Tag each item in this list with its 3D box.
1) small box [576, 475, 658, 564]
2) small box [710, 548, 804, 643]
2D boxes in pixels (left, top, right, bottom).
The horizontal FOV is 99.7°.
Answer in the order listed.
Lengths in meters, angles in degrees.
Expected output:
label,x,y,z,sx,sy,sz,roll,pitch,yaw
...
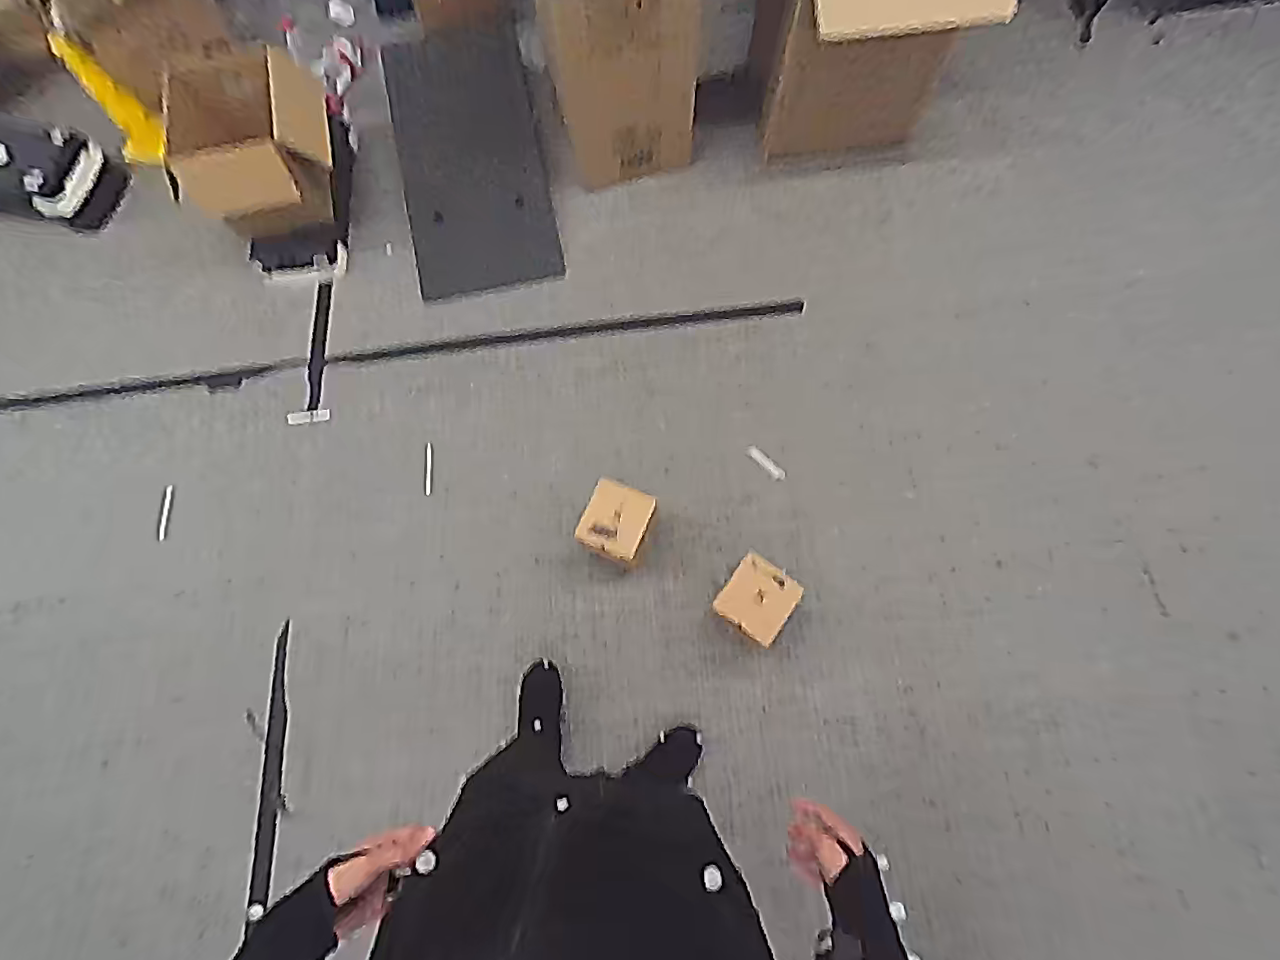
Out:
label,x,y,z,sx,sy,sz,roll,pitch,yaw
small box,-0.055,0.115,1.482,0.168,0.176,0.179,22,73,9
small box,0.296,0.304,1.405,0.168,0.176,0.179,36,79,12
